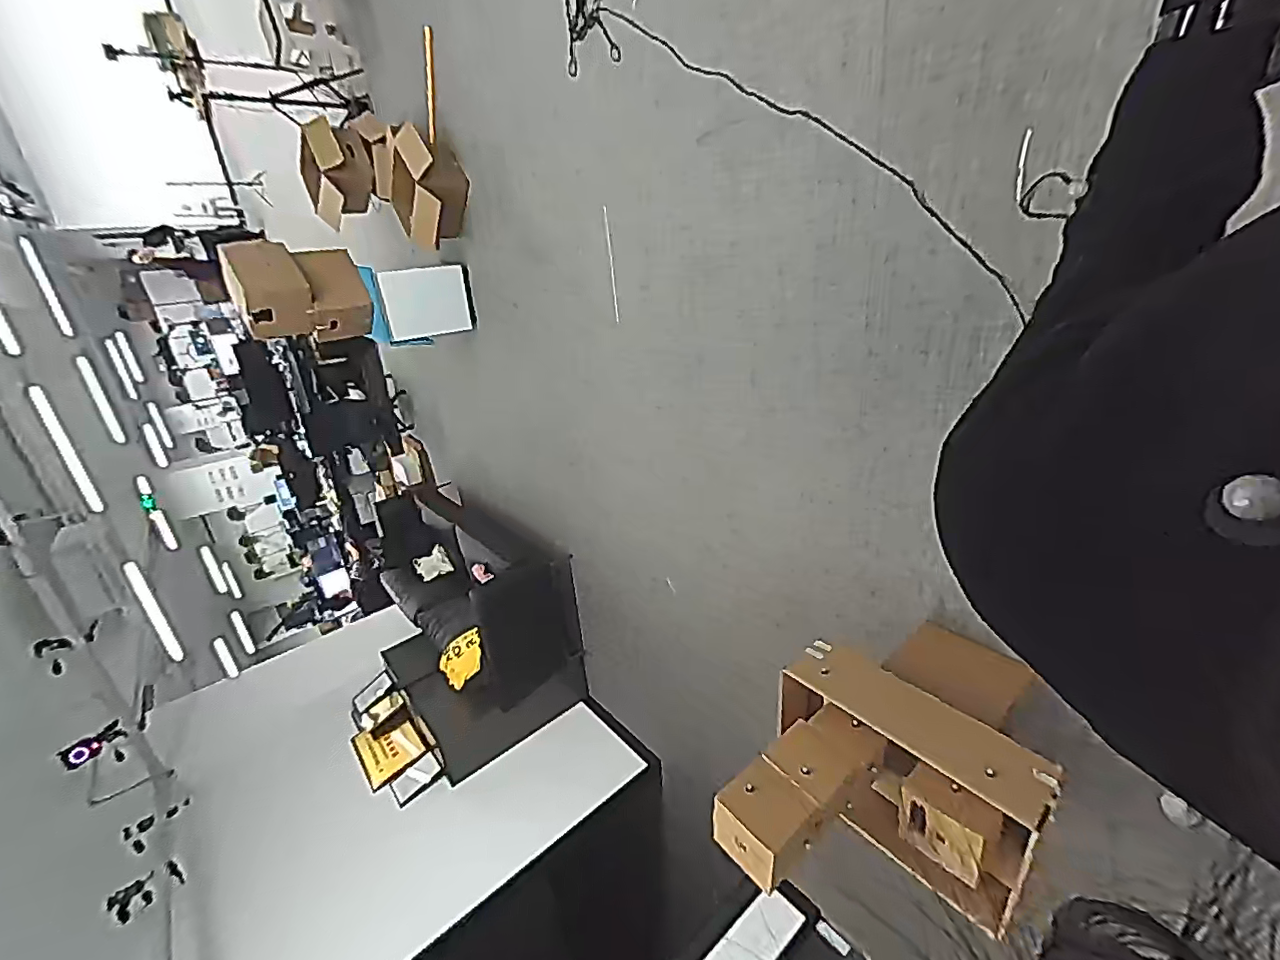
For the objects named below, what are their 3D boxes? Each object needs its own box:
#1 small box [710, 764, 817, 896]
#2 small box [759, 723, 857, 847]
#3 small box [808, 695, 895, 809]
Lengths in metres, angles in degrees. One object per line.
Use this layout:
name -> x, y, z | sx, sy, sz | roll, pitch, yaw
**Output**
small box -> 0.289, 0.813, 1.282 | 0.179, 0.176, 0.168 | 27, 128, 45
small box -> 0.419, 0.759, 1.364 | 0.179, 0.176, 0.168 | 28, 128, 45
small box -> 0.555, 0.717, 1.447 | 0.168, 0.176, 0.179 | 29, 129, 44
